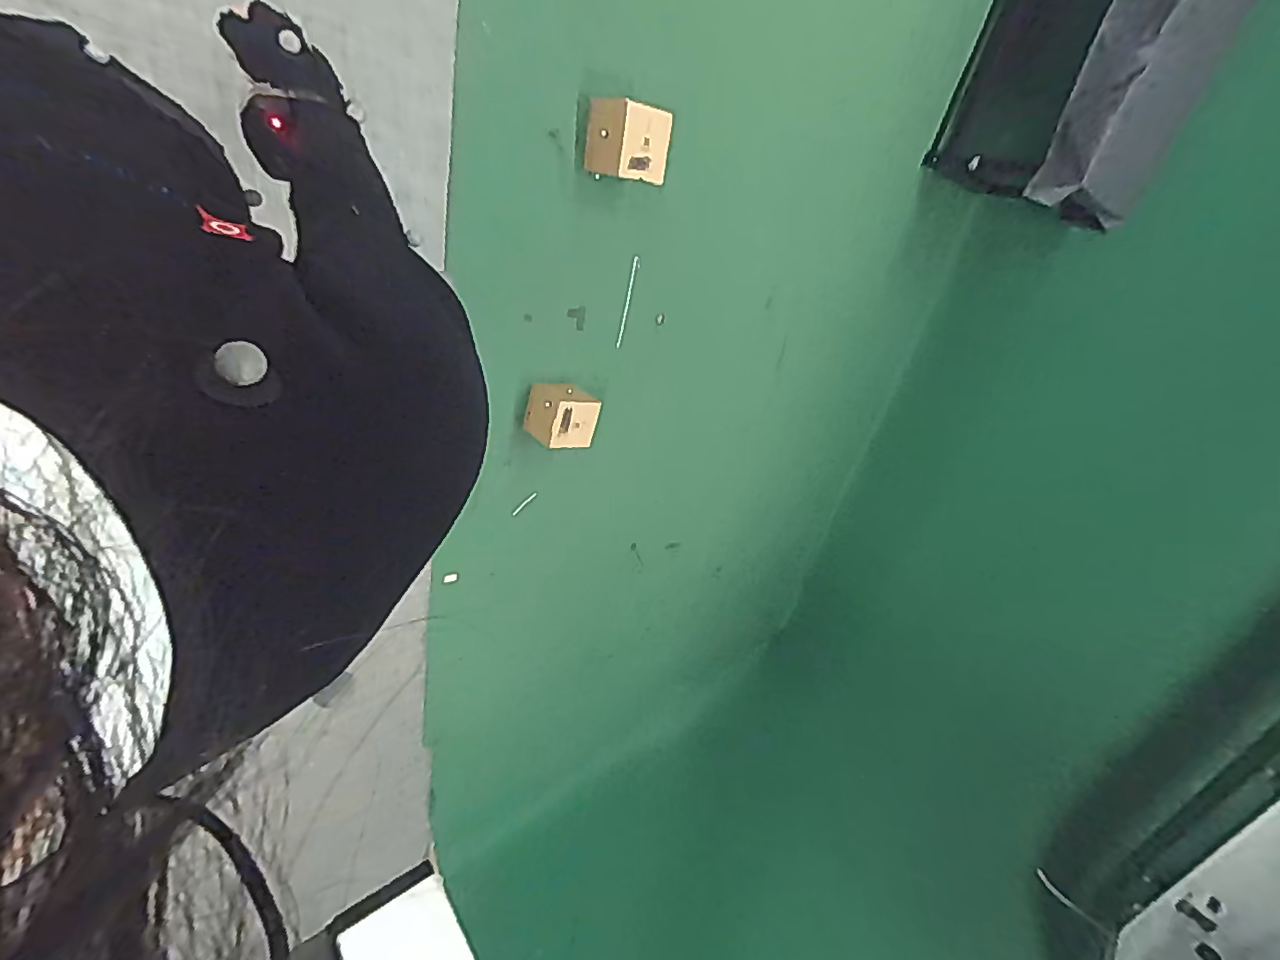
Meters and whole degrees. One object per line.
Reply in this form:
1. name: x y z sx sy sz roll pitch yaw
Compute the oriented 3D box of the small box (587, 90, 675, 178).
1. small box: -0.031 -0.959 1.501 0.168 0.176 0.179 -15 128 -39
